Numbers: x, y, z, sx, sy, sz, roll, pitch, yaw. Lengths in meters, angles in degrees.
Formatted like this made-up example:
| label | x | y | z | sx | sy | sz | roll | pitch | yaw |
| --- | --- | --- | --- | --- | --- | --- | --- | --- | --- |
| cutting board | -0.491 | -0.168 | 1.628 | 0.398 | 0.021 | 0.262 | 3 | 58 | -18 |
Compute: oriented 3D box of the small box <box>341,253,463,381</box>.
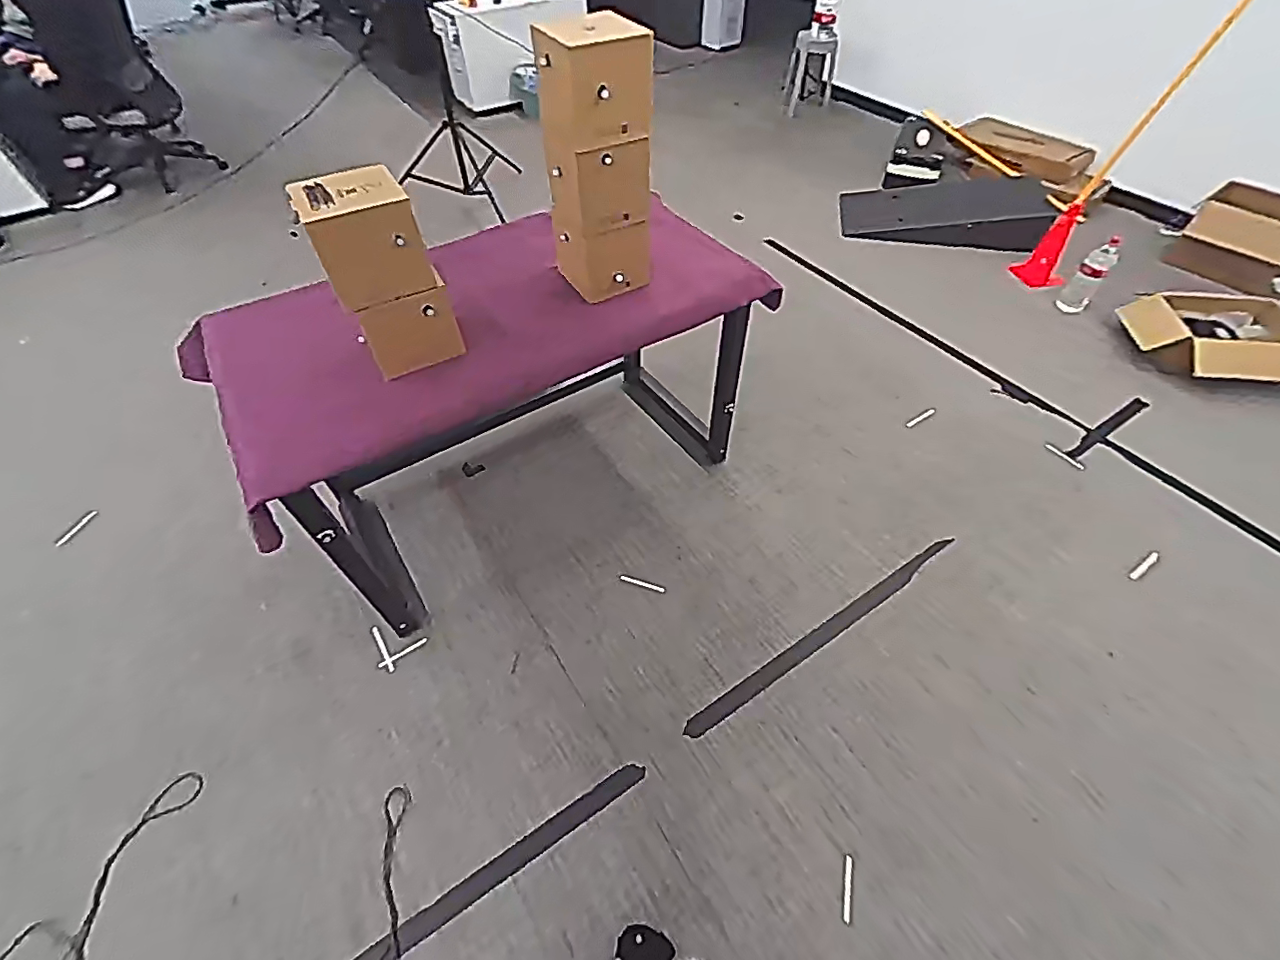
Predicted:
| label | x | y | z | sx | sy | sz | roll | pitch | yaw |
| --- | --- | --- | --- | --- | --- | --- | --- | --- | --- |
| small box | -0.485 | -0.338 | 1.127 | 0.179 | 0.176 | 0.168 | -25 | 55 | -18 |

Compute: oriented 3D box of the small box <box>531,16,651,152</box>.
| label | x | y | z | sx | sy | sz | roll | pitch | yaw |
| --- | --- | --- | --- | --- | --- | --- | --- | --- | --- |
| small box | -0.087 | -0.747 | 1.029 | 0.168 | 0.176 | 0.179 | -24 | 55 | -17 |

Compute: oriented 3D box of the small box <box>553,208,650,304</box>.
| label | x | y | z | sx | sy | sz | roll | pitch | yaw |
| --- | --- | --- | --- | --- | --- | --- | --- | --- | --- |
| small box | -0.090 | -0.550 | 1.291 | 0.168 | 0.176 | 0.179 | -26 | 56 | -18 |

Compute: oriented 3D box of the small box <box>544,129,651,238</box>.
| label | x | y | z | sx | sy | sz | roll | pitch | yaw |
| --- | --- | --- | --- | --- | --- | --- | --- | --- | --- |
| small box | -0.089 | -0.649 | 1.161 | 0.168 | 0.176 | 0.179 | -24 | 54 | -17 |
